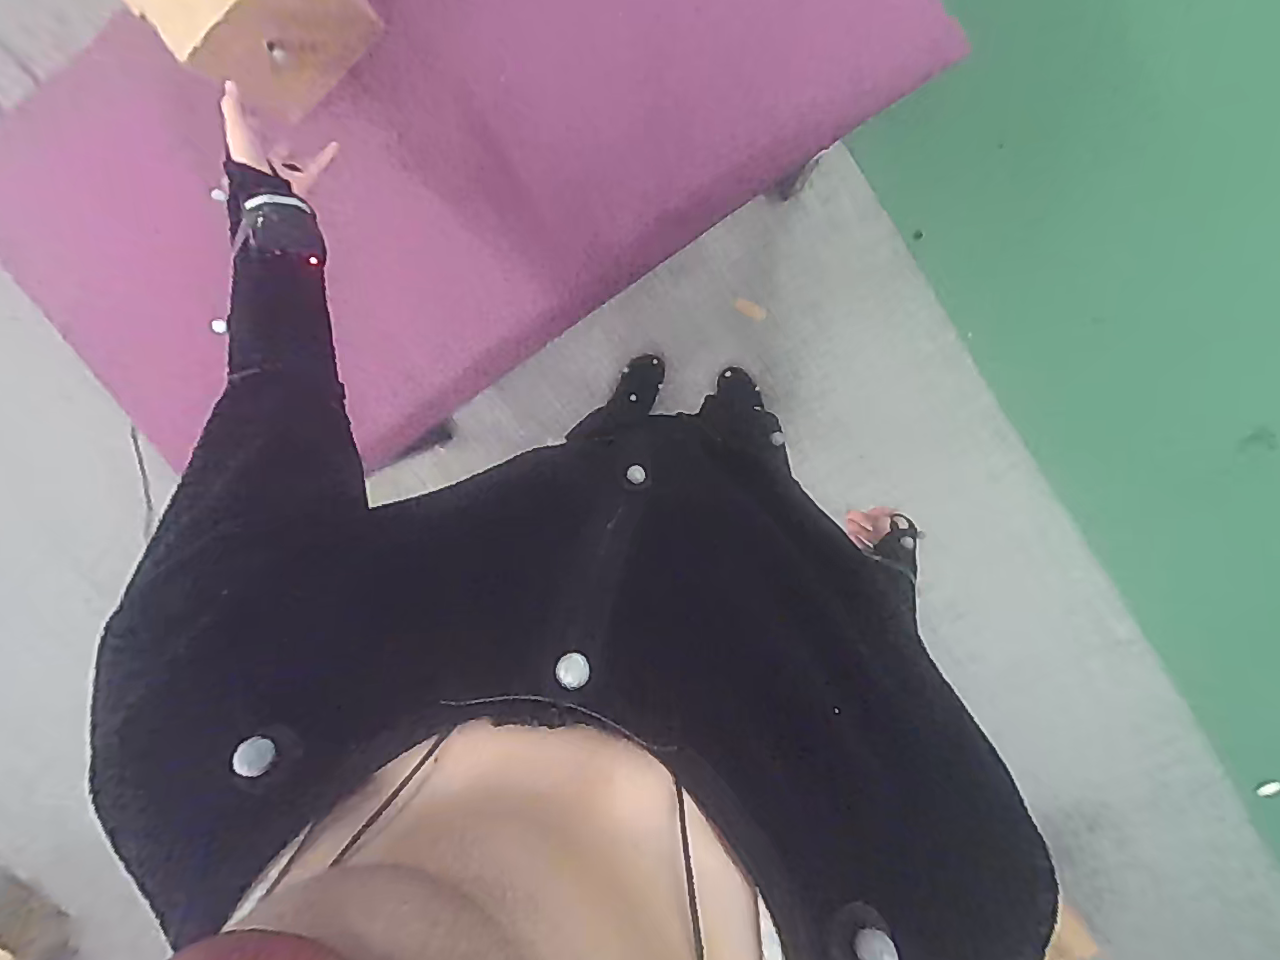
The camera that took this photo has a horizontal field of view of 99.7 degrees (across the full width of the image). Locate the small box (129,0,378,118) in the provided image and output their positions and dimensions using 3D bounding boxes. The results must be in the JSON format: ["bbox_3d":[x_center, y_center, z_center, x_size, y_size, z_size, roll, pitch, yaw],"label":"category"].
[{"bbox_3d":[-0.436,-0.550,0.596,0.179,0.176,0.168,-34,100,13],"label":"small box"}]

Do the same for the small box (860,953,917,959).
[{"bbox_3d":[0.743,1.503,1.537,0.168,0.176,0.179,-14,102,9],"label":"small box"}]
